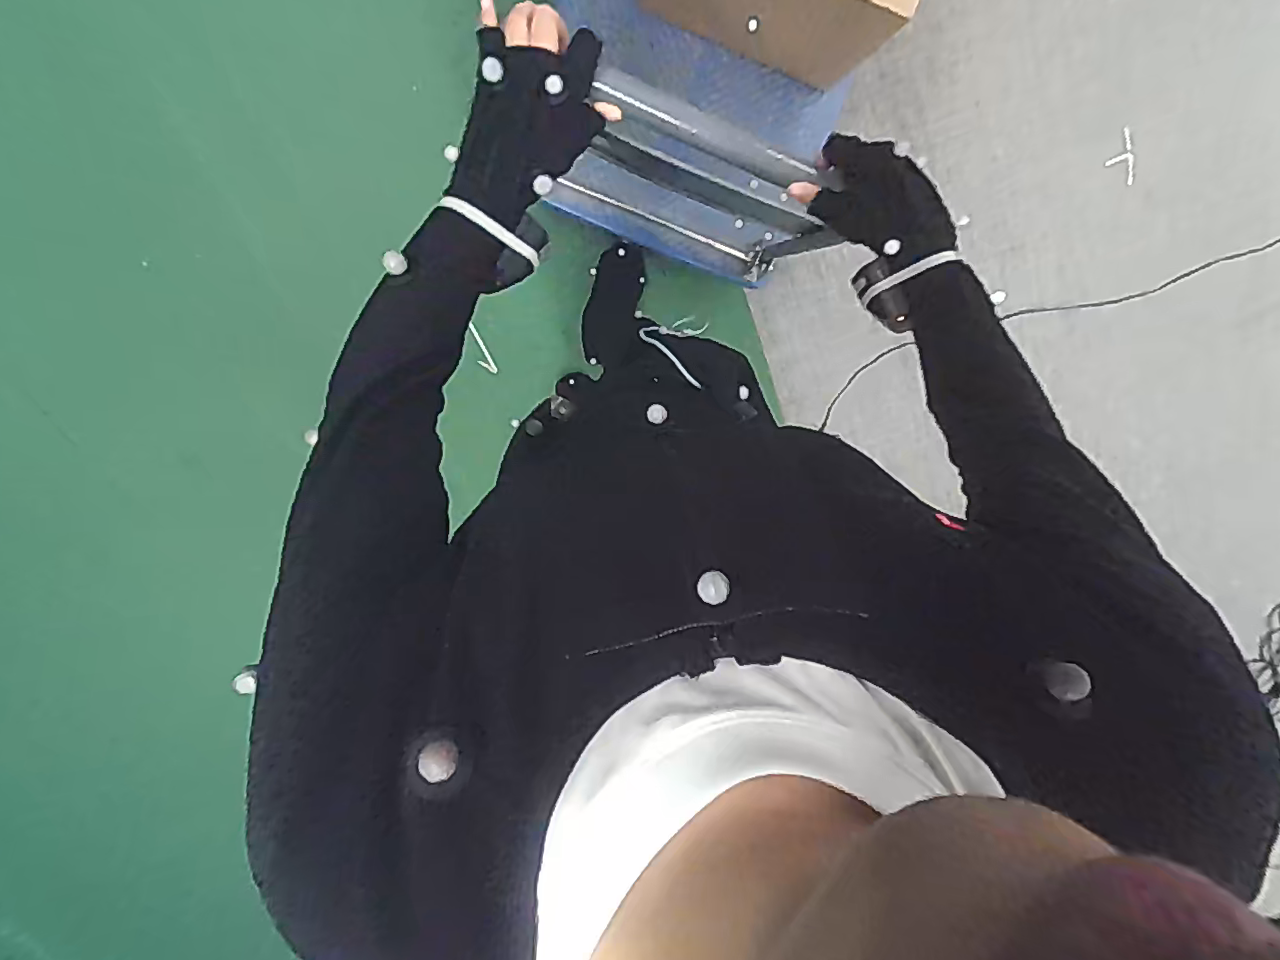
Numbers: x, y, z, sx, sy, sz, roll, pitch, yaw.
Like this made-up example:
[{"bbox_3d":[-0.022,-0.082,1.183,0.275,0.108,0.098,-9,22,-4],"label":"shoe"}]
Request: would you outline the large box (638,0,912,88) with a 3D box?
[{"bbox_3d":[0.237,-0.907,0.853,0.408,0.320,0.320,17,107,-9],"label":"large box"}]
